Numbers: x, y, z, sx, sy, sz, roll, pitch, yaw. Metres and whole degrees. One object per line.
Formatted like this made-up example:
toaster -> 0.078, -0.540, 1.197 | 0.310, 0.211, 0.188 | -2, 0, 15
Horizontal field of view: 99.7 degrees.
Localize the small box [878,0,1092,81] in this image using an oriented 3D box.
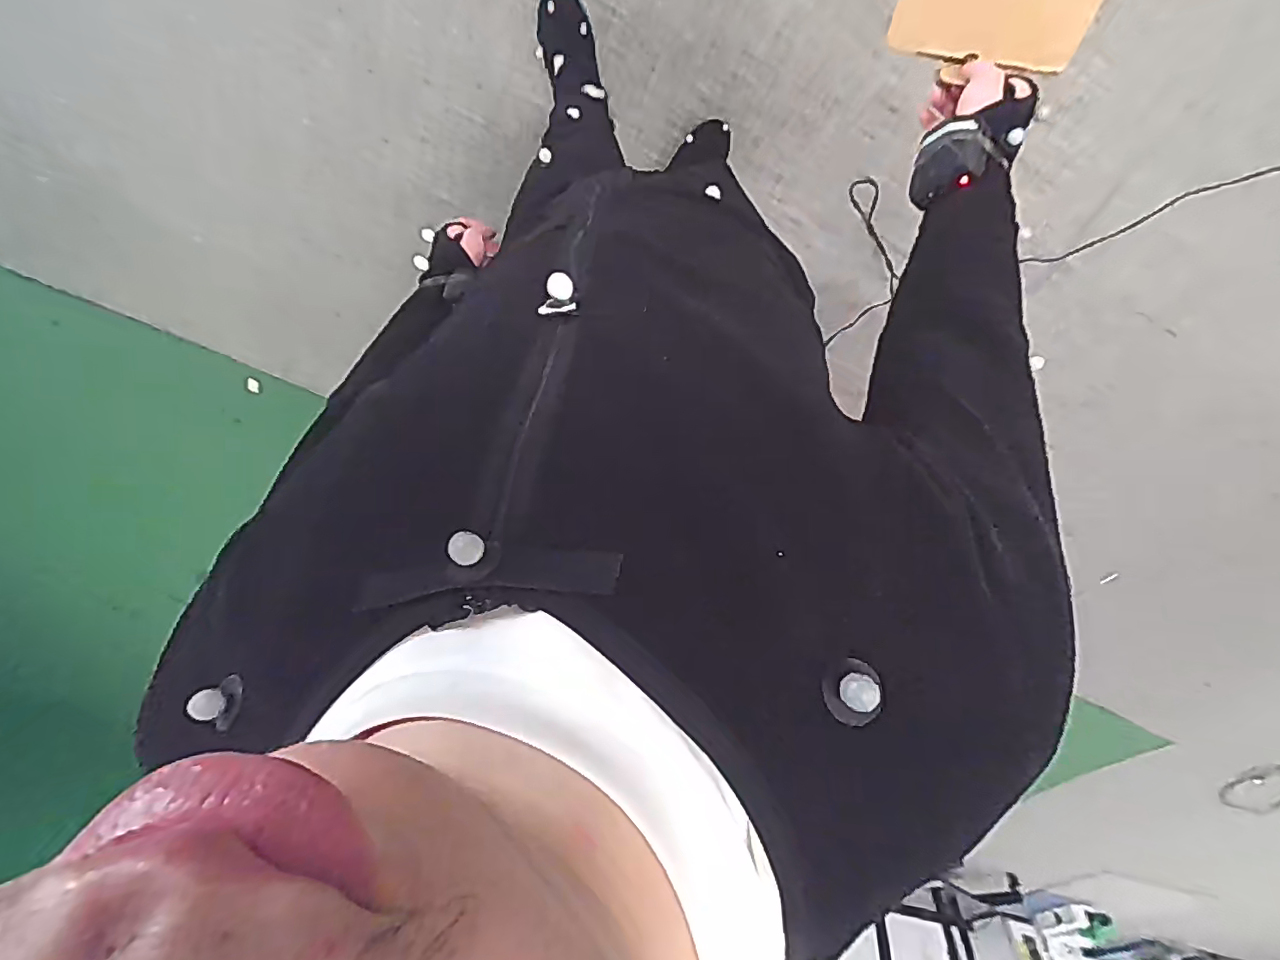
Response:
small box -> 0.347, -0.513, 0.516 | 0.168, 0.176, 0.179 | 17, 136, 10
